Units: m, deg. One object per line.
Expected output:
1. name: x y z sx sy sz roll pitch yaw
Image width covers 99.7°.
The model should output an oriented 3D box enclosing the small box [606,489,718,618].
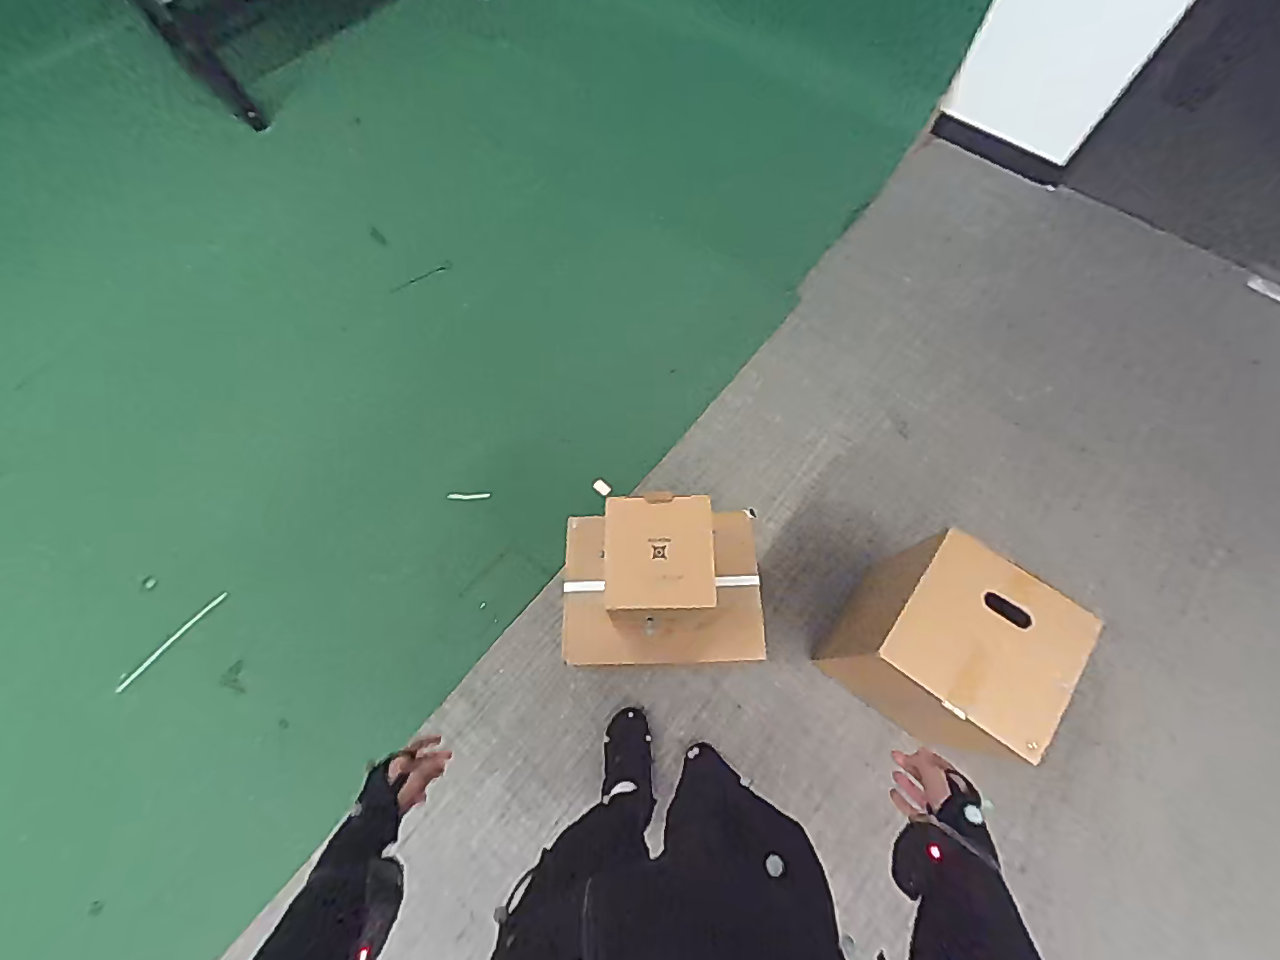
1. small box: 0.035 0.125 0.885 0.168 0.176 0.179 -1 69 2

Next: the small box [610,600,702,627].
1. small box: 0.034 0.180 1.039 0.168 0.176 0.179 2 69 2
